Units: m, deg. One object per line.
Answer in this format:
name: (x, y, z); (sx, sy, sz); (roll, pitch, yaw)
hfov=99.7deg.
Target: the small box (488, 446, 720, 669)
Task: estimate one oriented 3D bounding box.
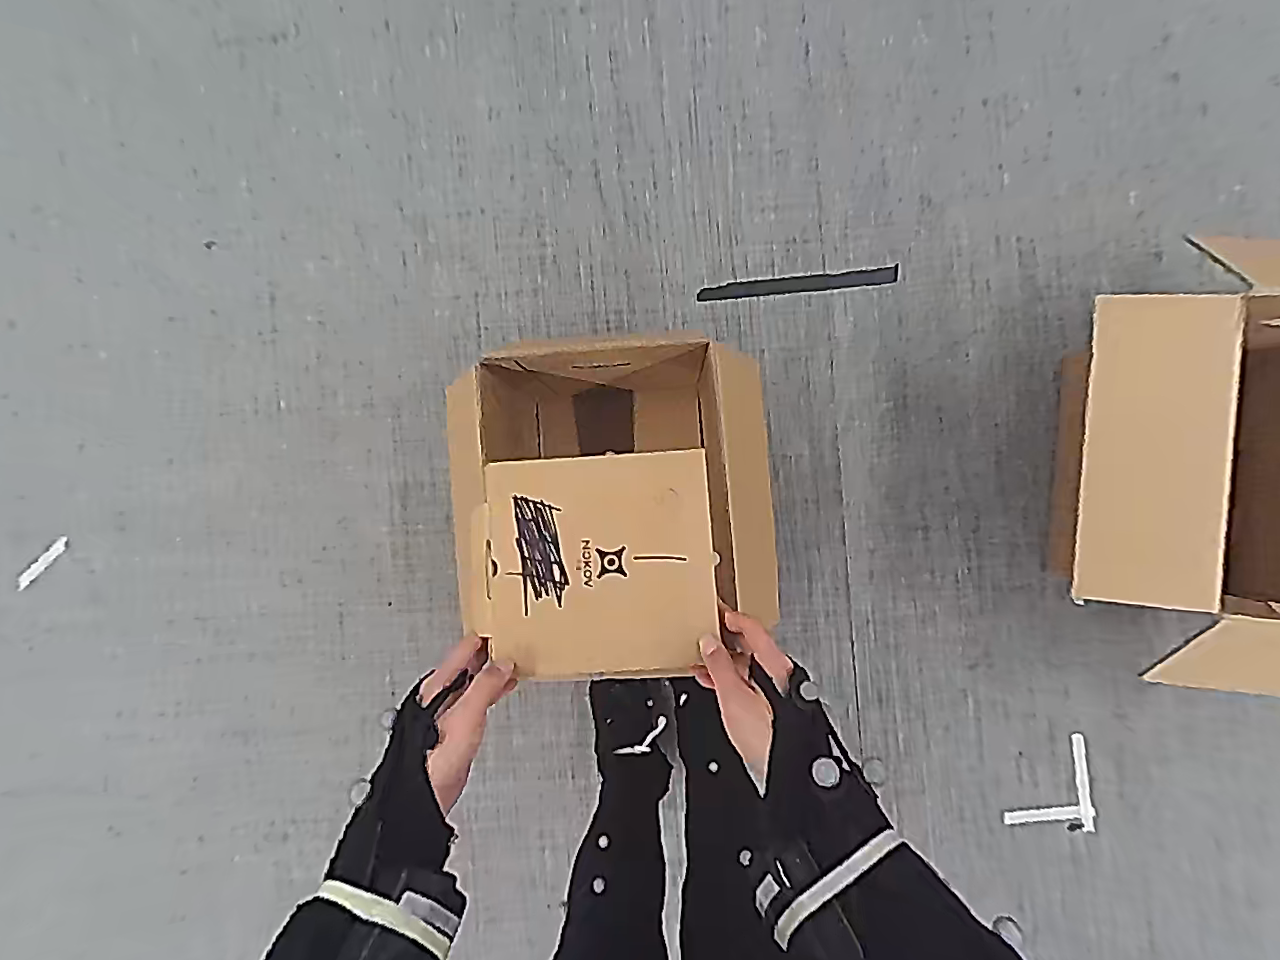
small box: (-0.029, 0.069, 0.497); (0.179, 0.176, 0.168); (-4, 83, 0)
